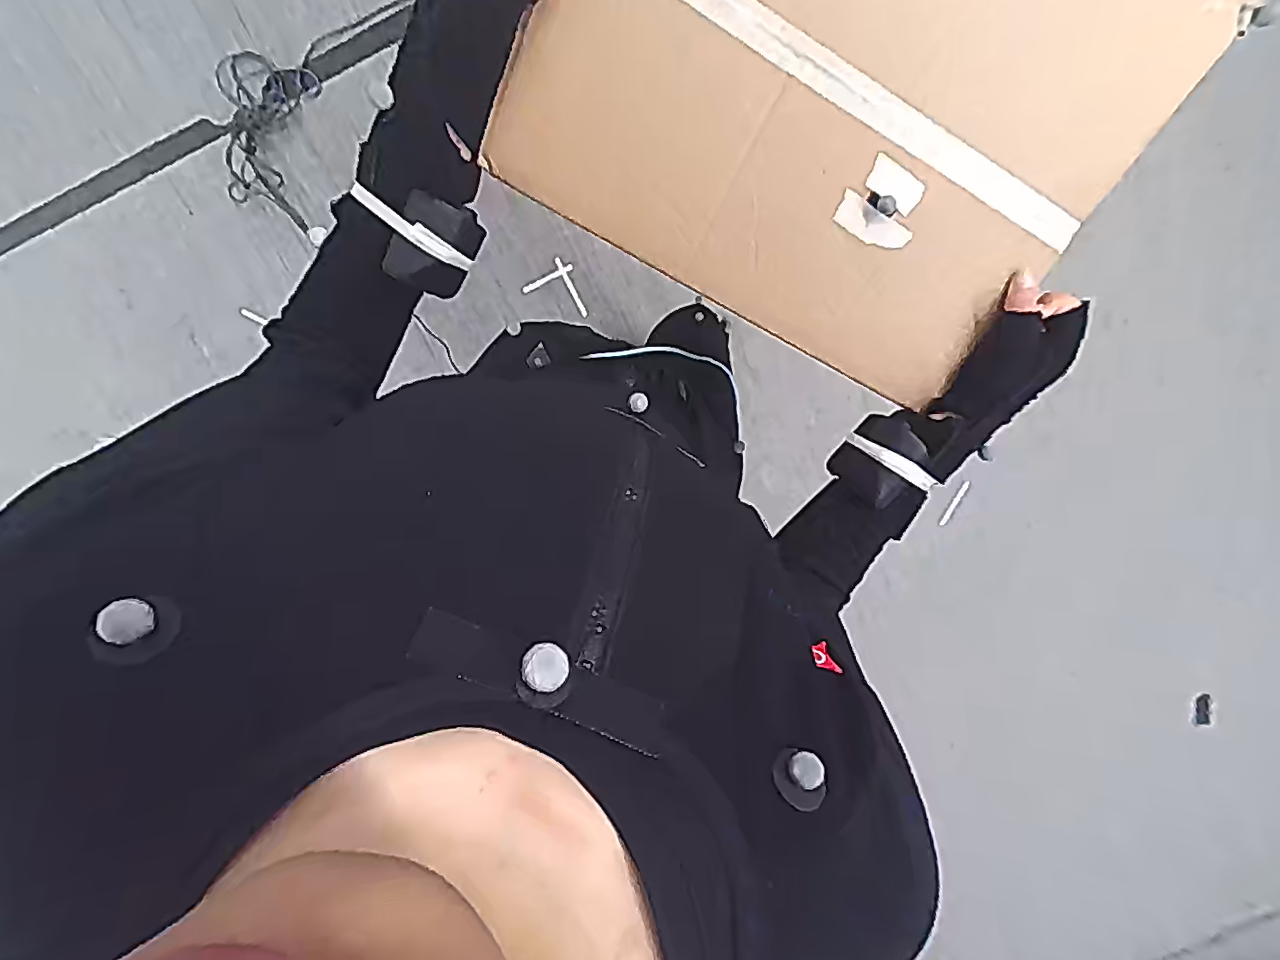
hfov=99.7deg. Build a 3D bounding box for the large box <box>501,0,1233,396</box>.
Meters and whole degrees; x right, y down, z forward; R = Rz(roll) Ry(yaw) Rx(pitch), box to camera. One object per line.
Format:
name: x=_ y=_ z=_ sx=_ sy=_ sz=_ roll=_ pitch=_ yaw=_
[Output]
large box: x=0.140 y=-0.339 z=0.502 sx=0.408 sy=0.320 sz=0.320 roll=25 pitch=116 yaw=-12
